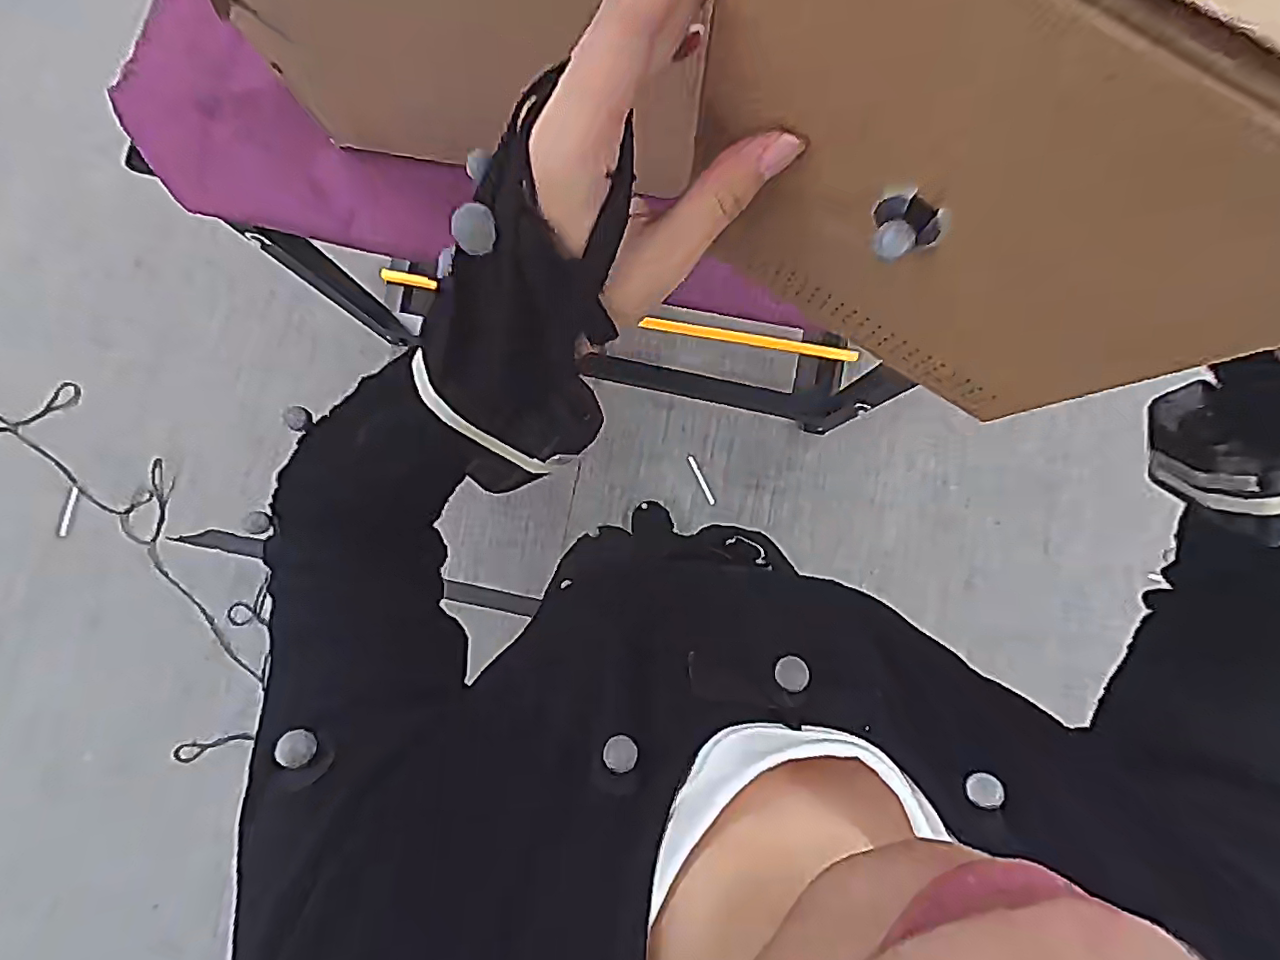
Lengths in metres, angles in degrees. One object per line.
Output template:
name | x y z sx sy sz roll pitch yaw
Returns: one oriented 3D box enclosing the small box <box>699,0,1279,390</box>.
small box | 0.138 -0.147 0.184 0.179 0.176 0.168 32 87 3
